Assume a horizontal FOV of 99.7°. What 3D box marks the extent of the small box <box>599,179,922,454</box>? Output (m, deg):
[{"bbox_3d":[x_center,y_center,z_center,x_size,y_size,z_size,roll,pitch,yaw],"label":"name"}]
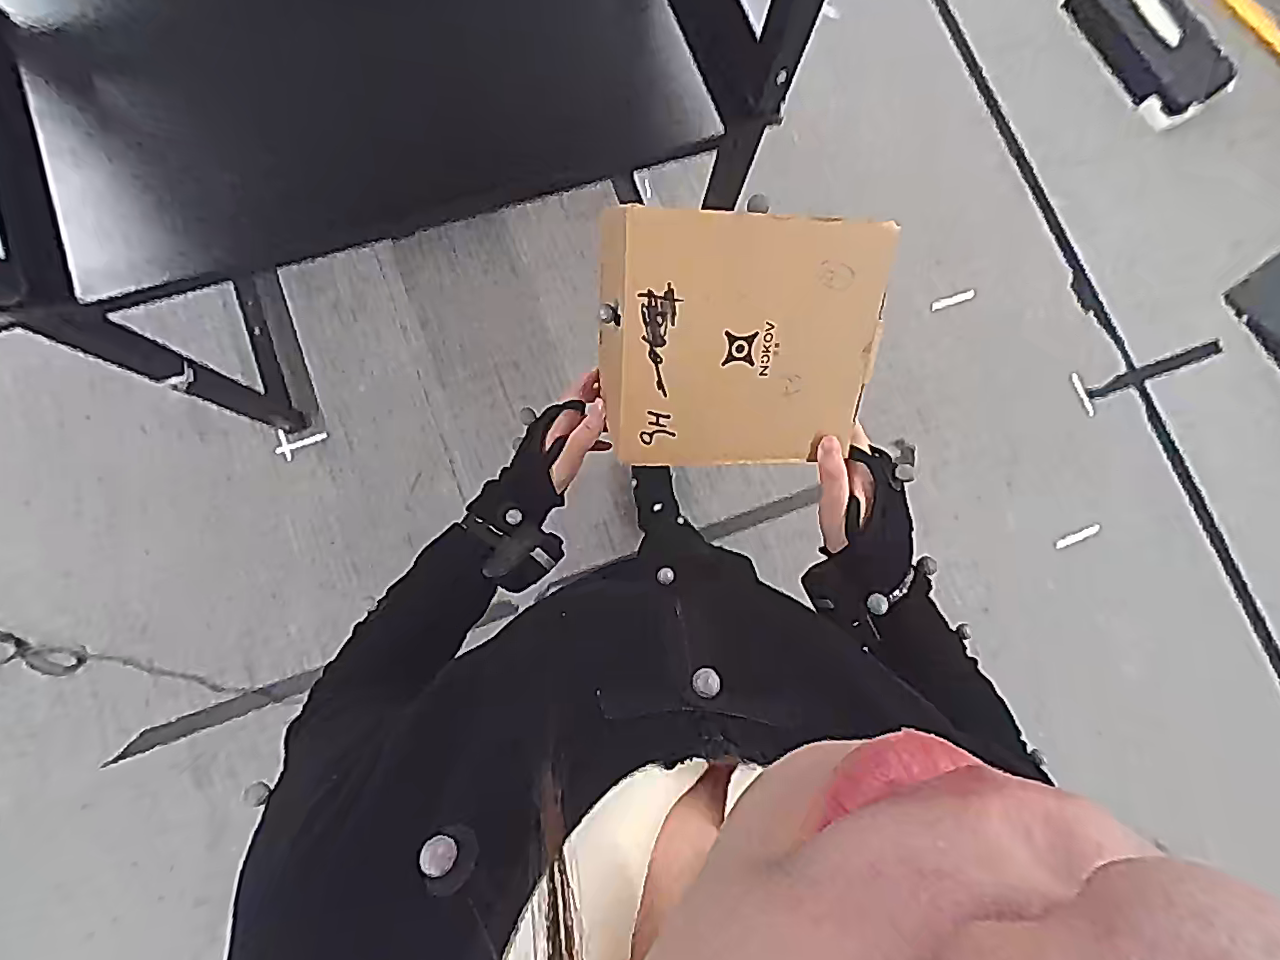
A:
[{"bbox_3d":[0.067,-0.129,0.413,0.179,0.176,0.168,-2,116,-10],"label":"small box"}]
